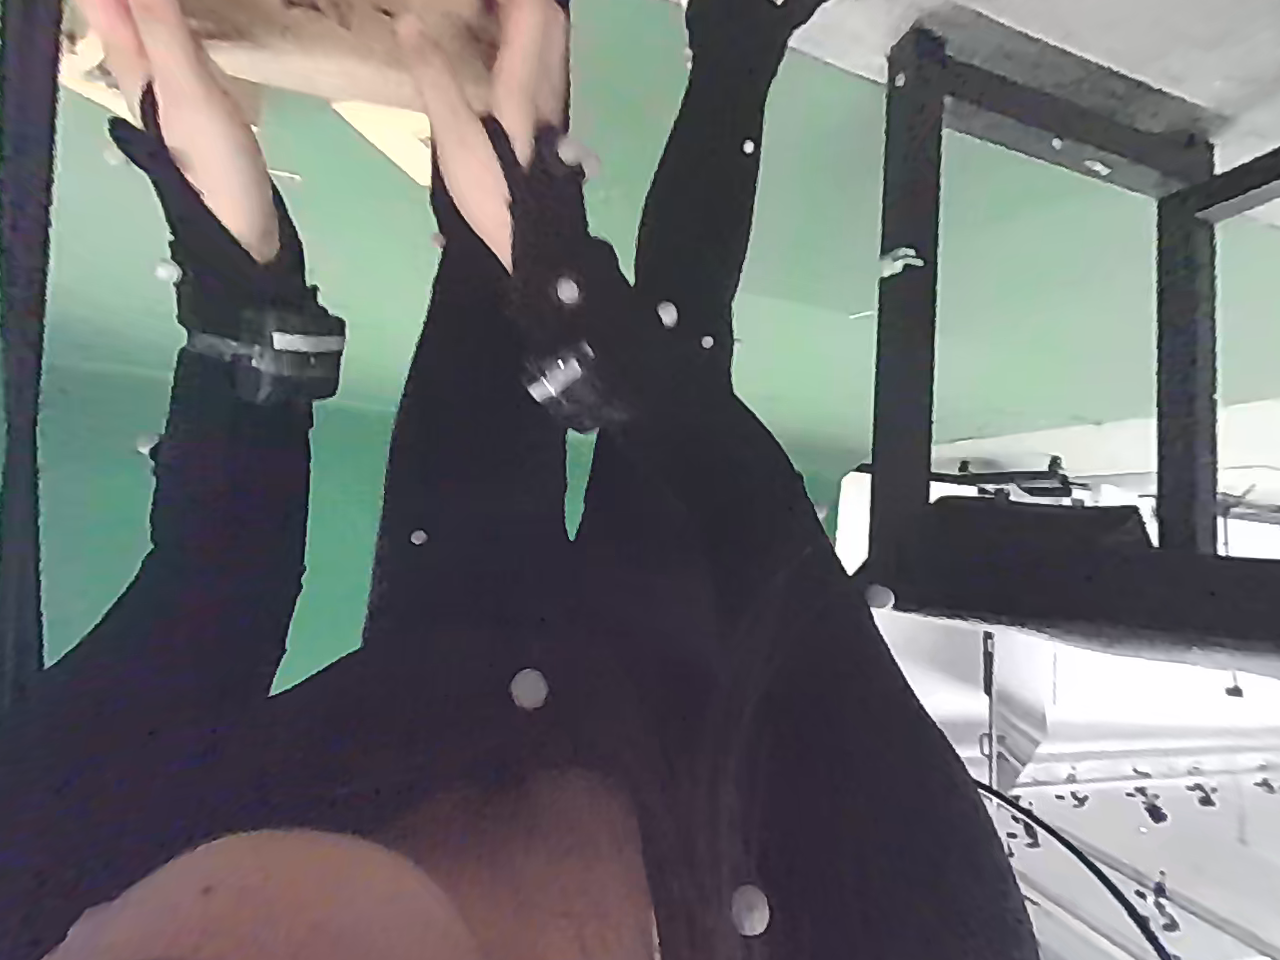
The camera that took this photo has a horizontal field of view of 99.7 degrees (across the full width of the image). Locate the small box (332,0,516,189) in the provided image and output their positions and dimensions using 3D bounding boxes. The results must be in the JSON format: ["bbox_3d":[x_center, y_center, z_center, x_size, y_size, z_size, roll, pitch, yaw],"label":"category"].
[{"bbox_3d":[-0.294,-0.553,0.771,0.168,0.176,0.179,3,174,19],"label":"small box"}]
